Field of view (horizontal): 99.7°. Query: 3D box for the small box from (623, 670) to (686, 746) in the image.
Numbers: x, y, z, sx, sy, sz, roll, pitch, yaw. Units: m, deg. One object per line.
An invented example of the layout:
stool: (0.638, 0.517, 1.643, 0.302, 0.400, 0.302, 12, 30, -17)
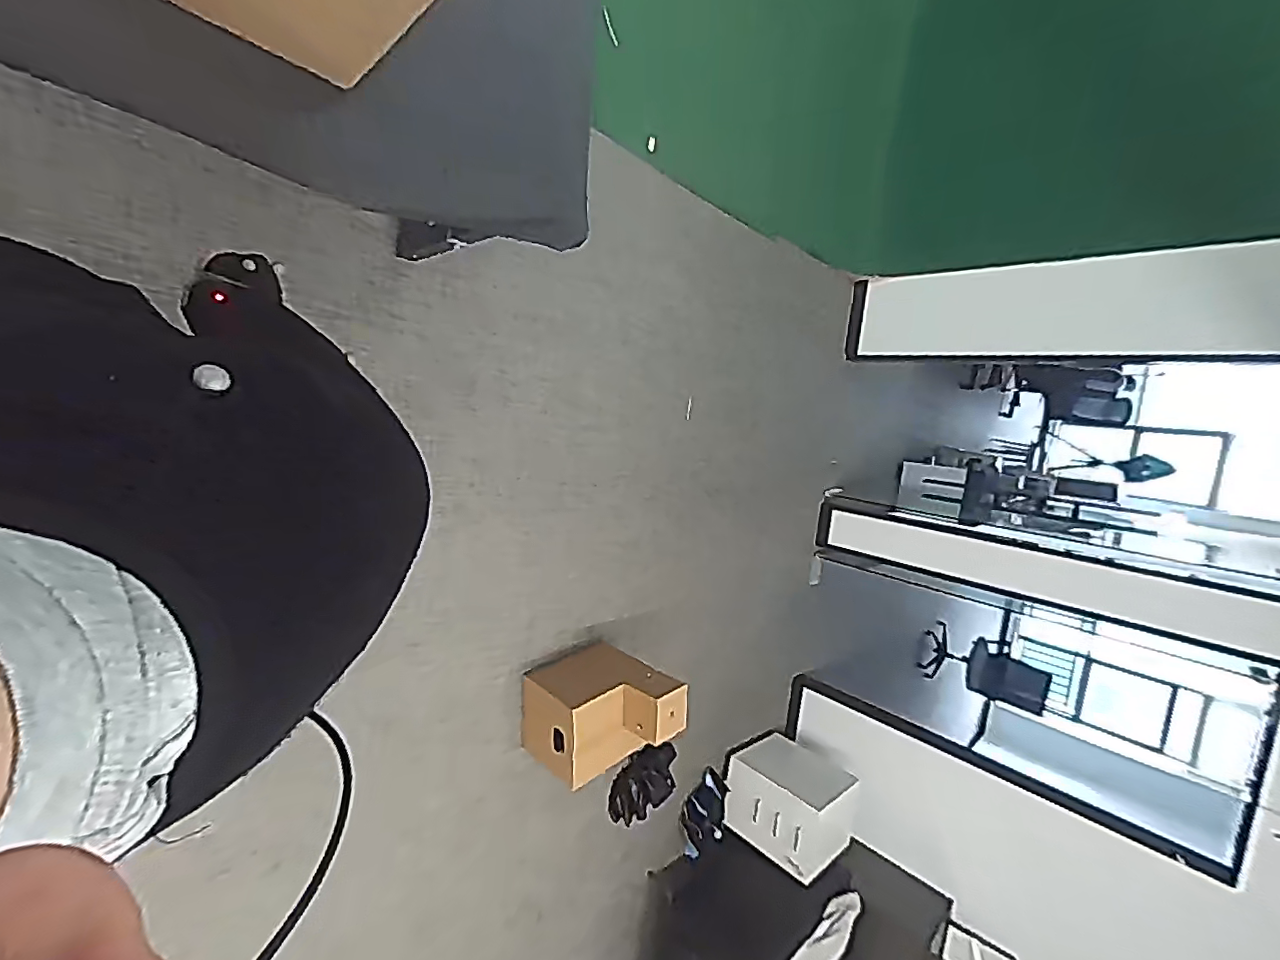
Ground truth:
small box: (0.050, 0.825, 1.973, 0.168, 0.176, 0.179, -7, 99, -46)
